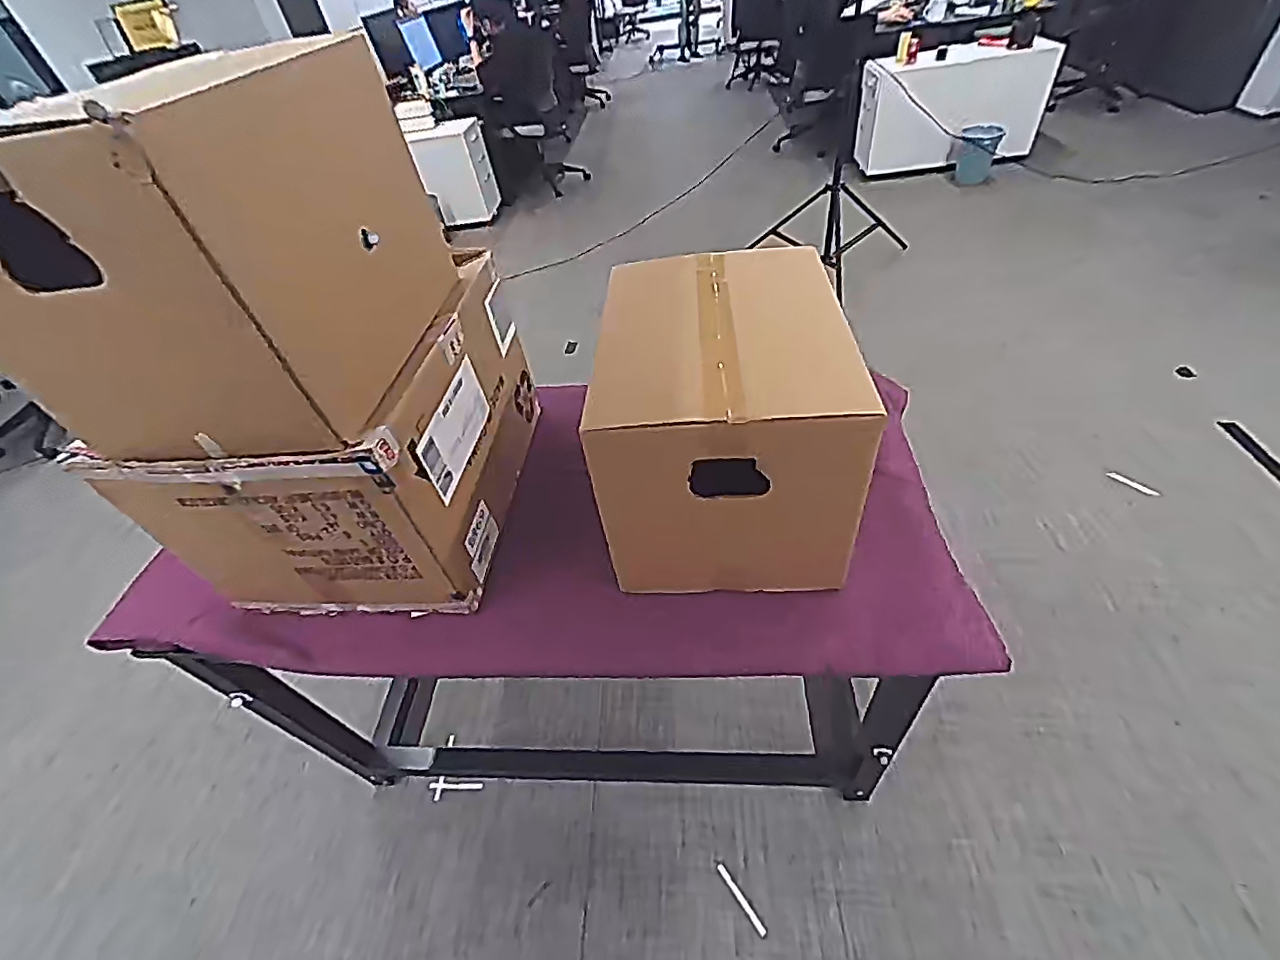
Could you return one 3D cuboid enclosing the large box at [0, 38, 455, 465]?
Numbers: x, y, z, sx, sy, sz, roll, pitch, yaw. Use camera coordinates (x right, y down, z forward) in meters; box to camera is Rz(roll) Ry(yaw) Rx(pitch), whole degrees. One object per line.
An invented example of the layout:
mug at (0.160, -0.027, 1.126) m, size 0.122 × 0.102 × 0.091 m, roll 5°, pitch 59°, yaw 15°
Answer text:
large box at (-0.461, -0.271, 0.633) m, size 0.320 × 0.320 × 0.408 m, roll -4°, pitch 46°, yaw 8°
